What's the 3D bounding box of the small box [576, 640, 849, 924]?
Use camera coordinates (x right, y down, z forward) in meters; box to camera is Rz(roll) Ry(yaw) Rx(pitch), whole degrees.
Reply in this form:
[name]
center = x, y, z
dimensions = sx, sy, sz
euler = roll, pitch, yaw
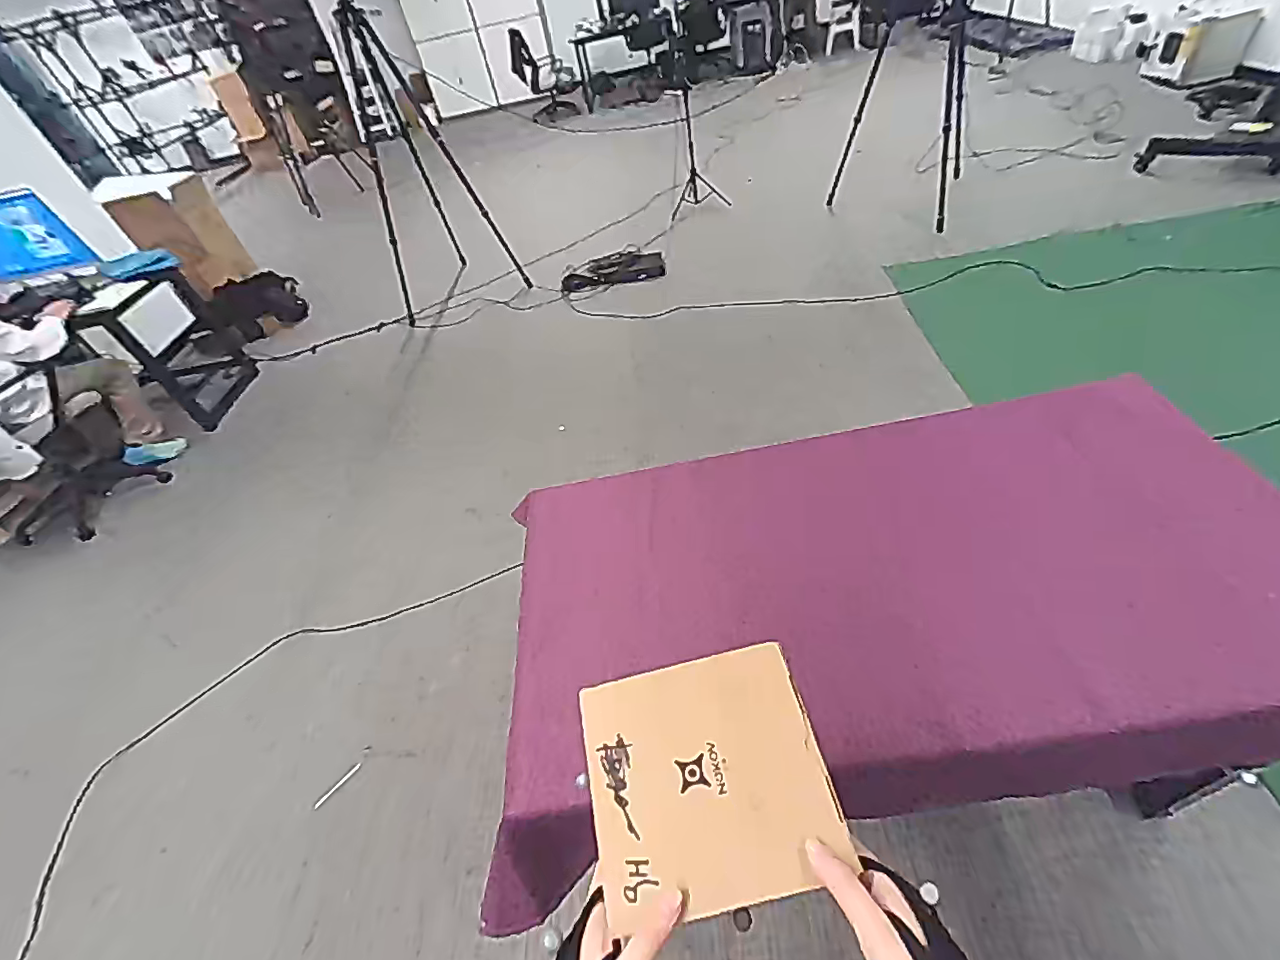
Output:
[small box]
center = 0.054, 0.263, 0.471
dimensions = 0.179, 0.176, 0.168
euler = -13, 51, 0
